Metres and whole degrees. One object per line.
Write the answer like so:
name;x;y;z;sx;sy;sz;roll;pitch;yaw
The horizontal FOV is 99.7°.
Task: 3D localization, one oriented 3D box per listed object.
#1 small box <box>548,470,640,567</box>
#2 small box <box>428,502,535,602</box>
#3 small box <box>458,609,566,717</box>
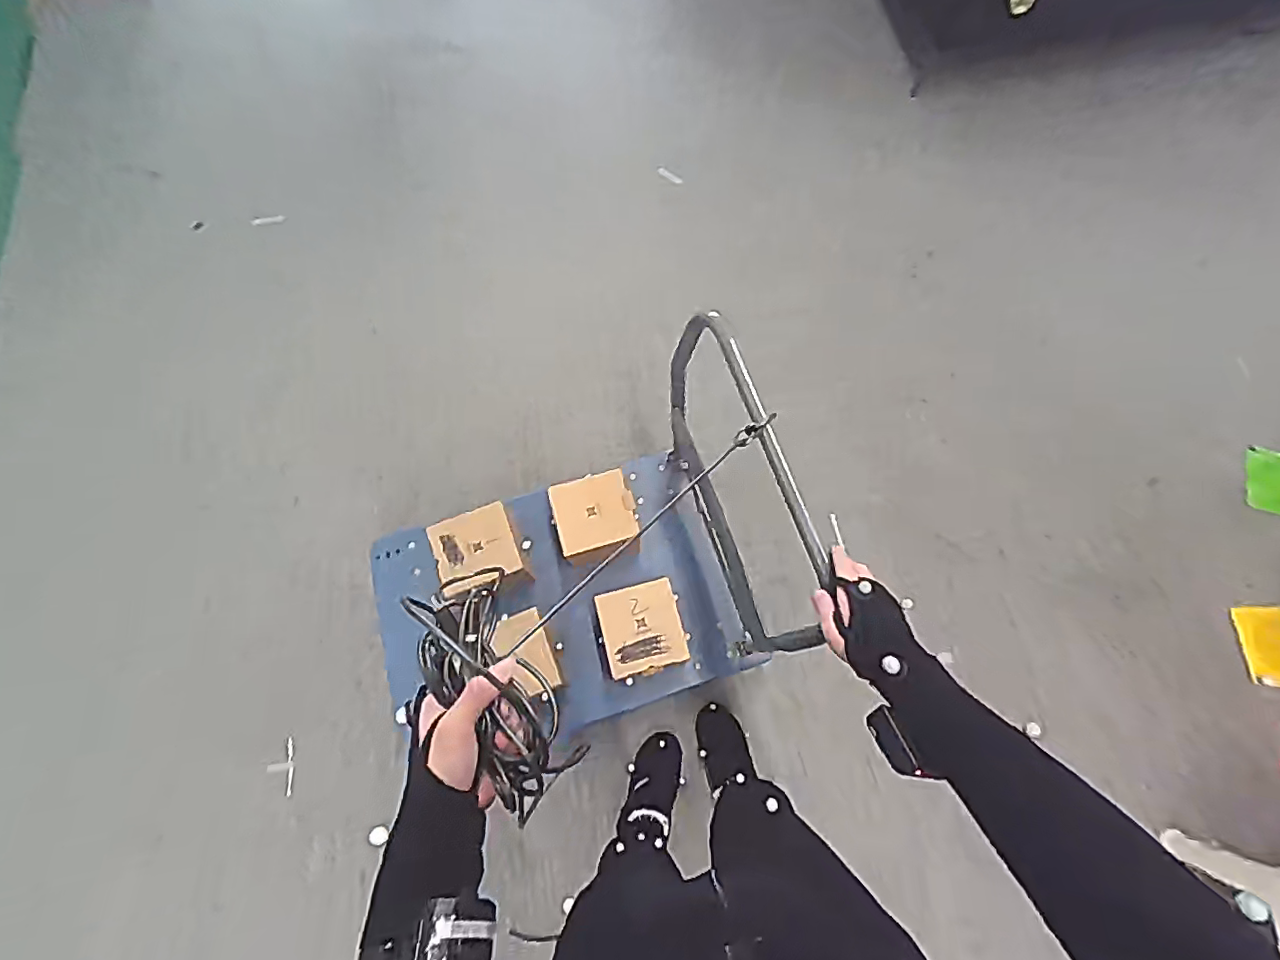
small box;-0.103;0.098;1.280;0.179;0.176;0.168;-16;72;-5
small box;-0.361;0.174;1.252;0.179;0.176;0.168;-20;73;-7
small box;-0.268;0.395;1.177;0.179;0.176;0.168;-20;72;-7
